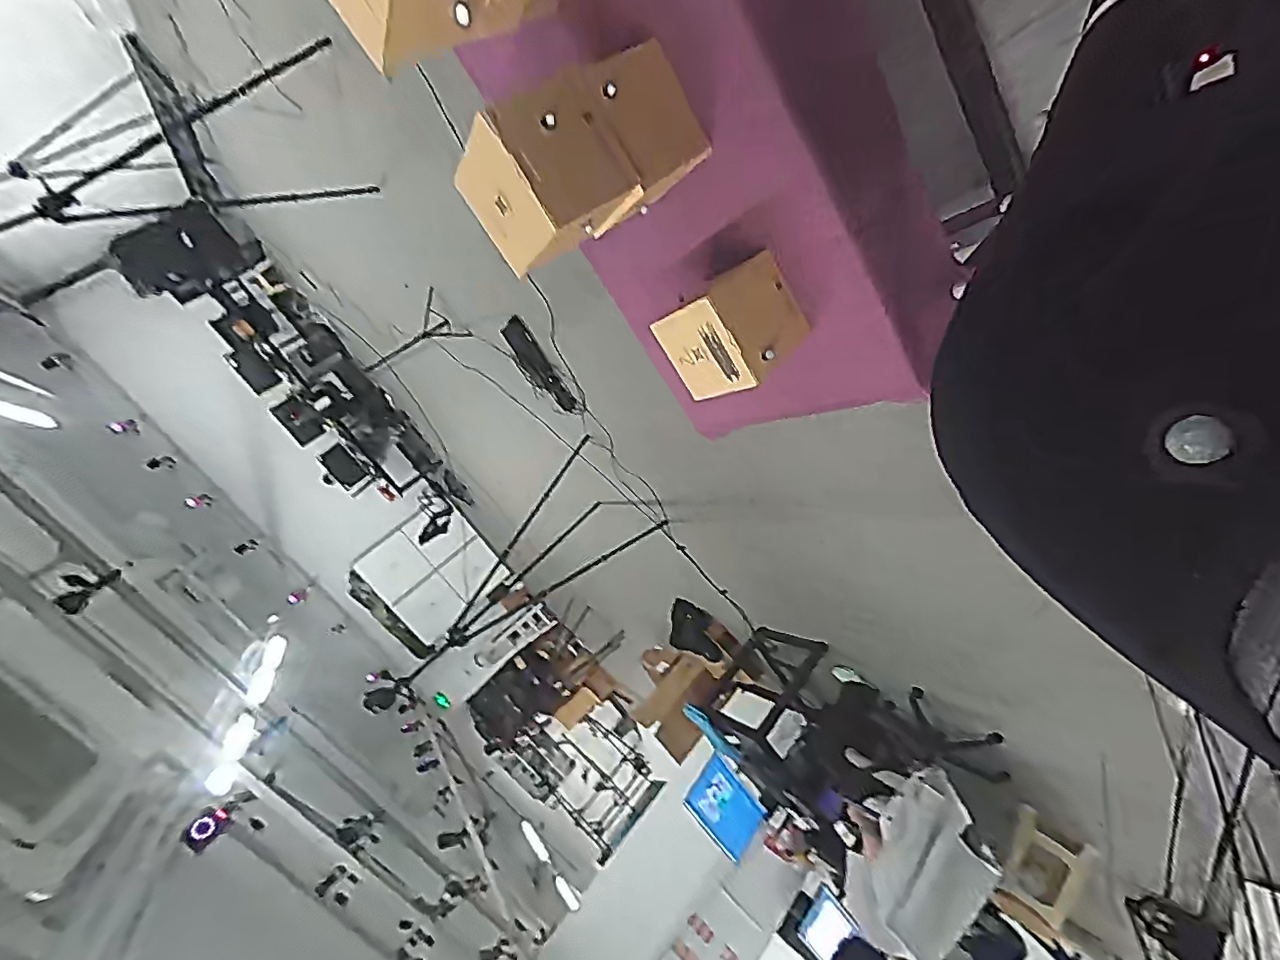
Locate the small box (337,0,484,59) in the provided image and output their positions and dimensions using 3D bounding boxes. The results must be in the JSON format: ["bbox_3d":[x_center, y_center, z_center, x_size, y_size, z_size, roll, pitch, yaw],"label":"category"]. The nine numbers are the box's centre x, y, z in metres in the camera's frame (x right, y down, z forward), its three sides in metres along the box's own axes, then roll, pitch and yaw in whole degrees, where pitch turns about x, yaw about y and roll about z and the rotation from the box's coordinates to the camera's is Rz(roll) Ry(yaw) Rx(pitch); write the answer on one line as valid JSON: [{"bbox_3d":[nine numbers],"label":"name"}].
[{"bbox_3d":[-0.311,-0.699,0.689,0.179,0.176,0.168,54,155,-16],"label":"small box"}]

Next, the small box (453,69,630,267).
[{"bbox_3d":[-0.140,-0.451,0.793,0.168,0.176,0.179,56,155,-16],"label":"small box"}]

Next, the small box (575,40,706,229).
[{"bbox_3d":[-0.027,-0.545,0.863,0.179,0.176,0.168,57,154,-17],"label":"small box"}]

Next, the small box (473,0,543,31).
[{"bbox_3d":[-0.203,-0.801,0.760,0.179,0.176,0.168,53,155,-15],"label":"small box"}]
